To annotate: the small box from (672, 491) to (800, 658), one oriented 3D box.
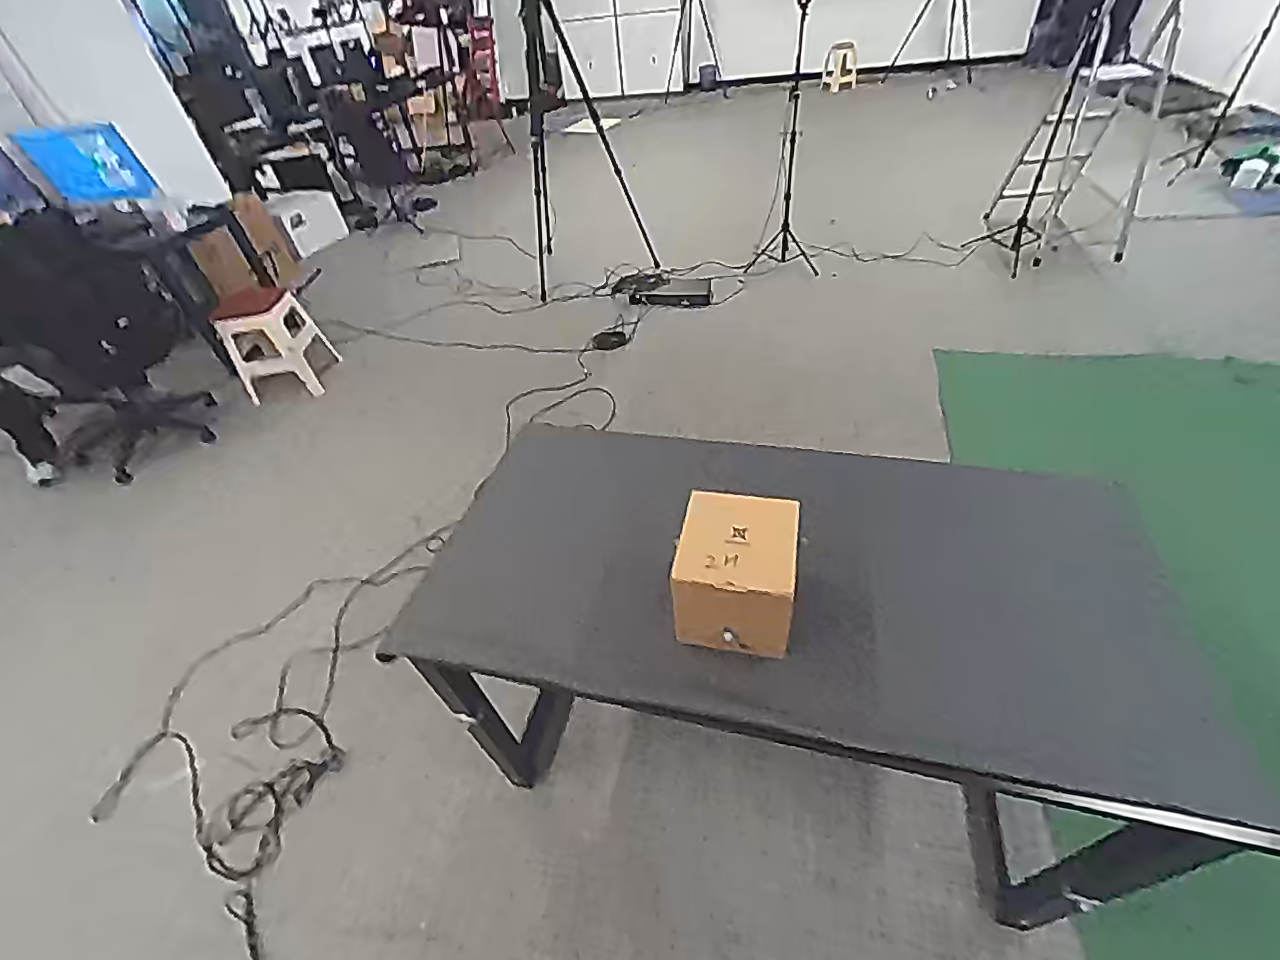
[{"bbox_3d":[0.149,0.142,0.827,0.168,0.176,0.179,5,44,15],"label":"small box"}]
